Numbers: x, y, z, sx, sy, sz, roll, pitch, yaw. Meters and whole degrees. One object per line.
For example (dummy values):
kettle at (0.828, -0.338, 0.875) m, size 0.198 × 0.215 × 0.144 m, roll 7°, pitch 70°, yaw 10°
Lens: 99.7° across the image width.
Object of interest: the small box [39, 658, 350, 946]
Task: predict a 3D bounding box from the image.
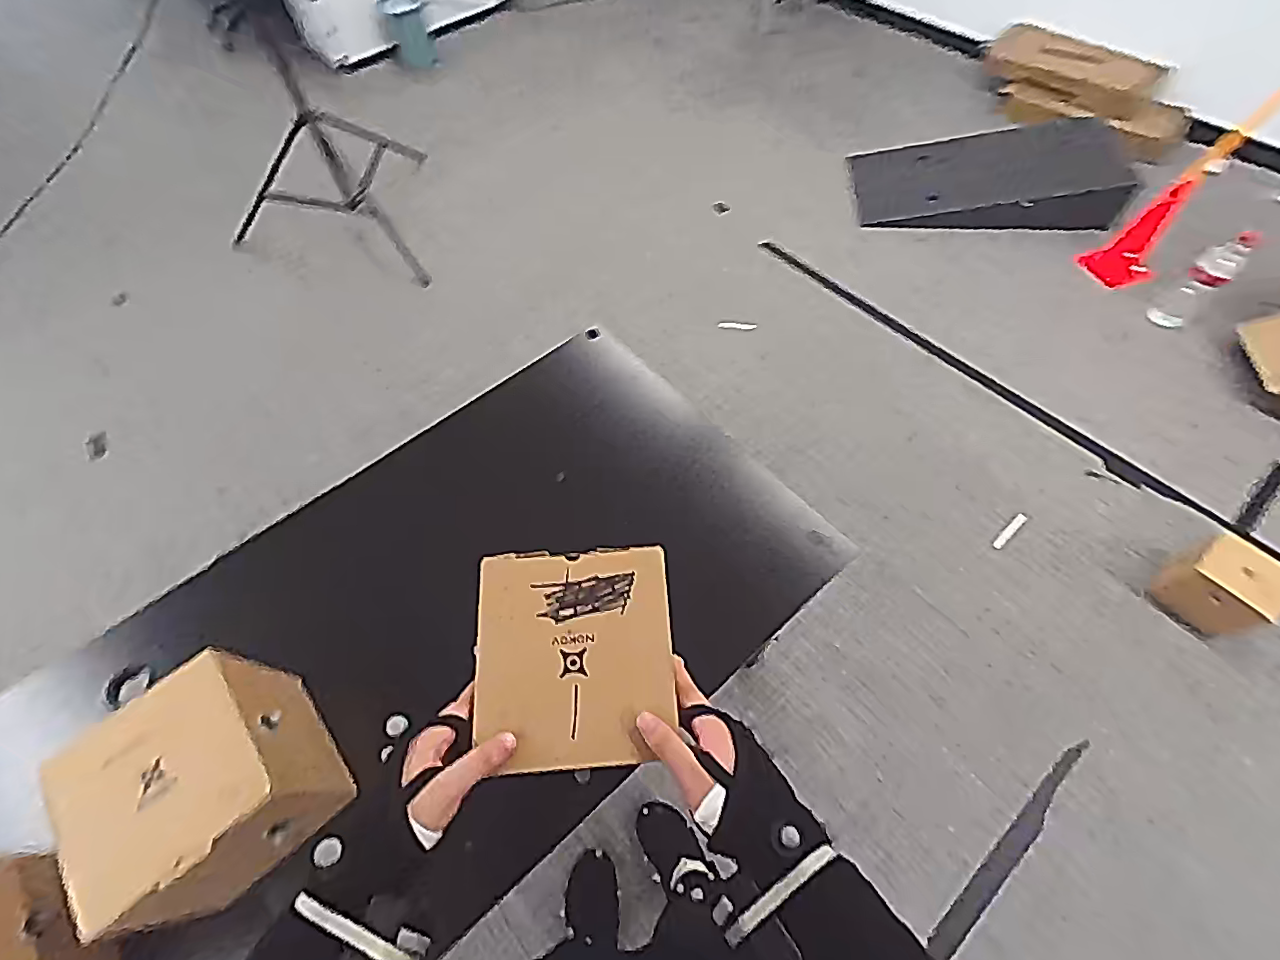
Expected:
small box at (-0.448, 0.324, 0.571) m, size 0.168 × 0.176 × 0.179 m, roll -38°, pitch 65°, yaw -20°

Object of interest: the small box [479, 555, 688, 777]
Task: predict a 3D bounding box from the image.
small box at (-0.049, 0.183, 0.526) m, size 0.168 × 0.176 × 0.179 m, roll -2°, pitch 65°, yaw -2°

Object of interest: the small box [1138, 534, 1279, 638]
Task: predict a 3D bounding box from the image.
small box at (1.454, 0.277, 1.387) m, size 0.168 × 0.176 × 0.179 m, roll -38°, pitch 66°, yaw -18°
